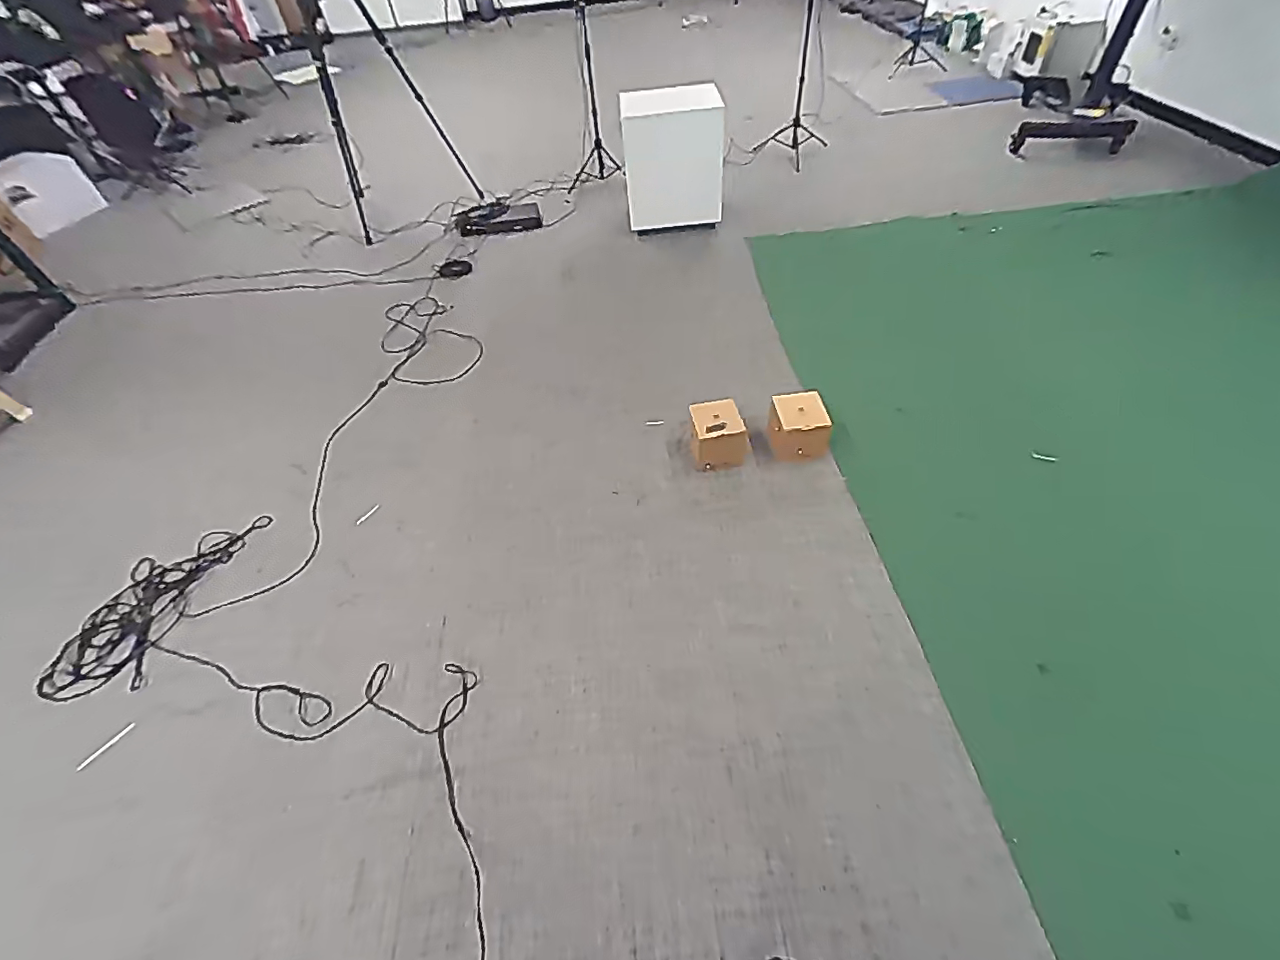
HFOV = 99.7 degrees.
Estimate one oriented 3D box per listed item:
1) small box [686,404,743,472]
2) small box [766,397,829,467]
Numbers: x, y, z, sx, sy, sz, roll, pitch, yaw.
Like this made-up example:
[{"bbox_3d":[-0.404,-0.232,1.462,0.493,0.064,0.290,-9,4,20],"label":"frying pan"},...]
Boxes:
[{"bbox_3d":[0.264,-0.143,1.933,0.168,0.176,0.179,-10,48,-4],"label":"small box"},{"bbox_3d":[0.556,-0.171,1.934,0.168,0.176,0.179,-7,49,0],"label":"small box"}]
